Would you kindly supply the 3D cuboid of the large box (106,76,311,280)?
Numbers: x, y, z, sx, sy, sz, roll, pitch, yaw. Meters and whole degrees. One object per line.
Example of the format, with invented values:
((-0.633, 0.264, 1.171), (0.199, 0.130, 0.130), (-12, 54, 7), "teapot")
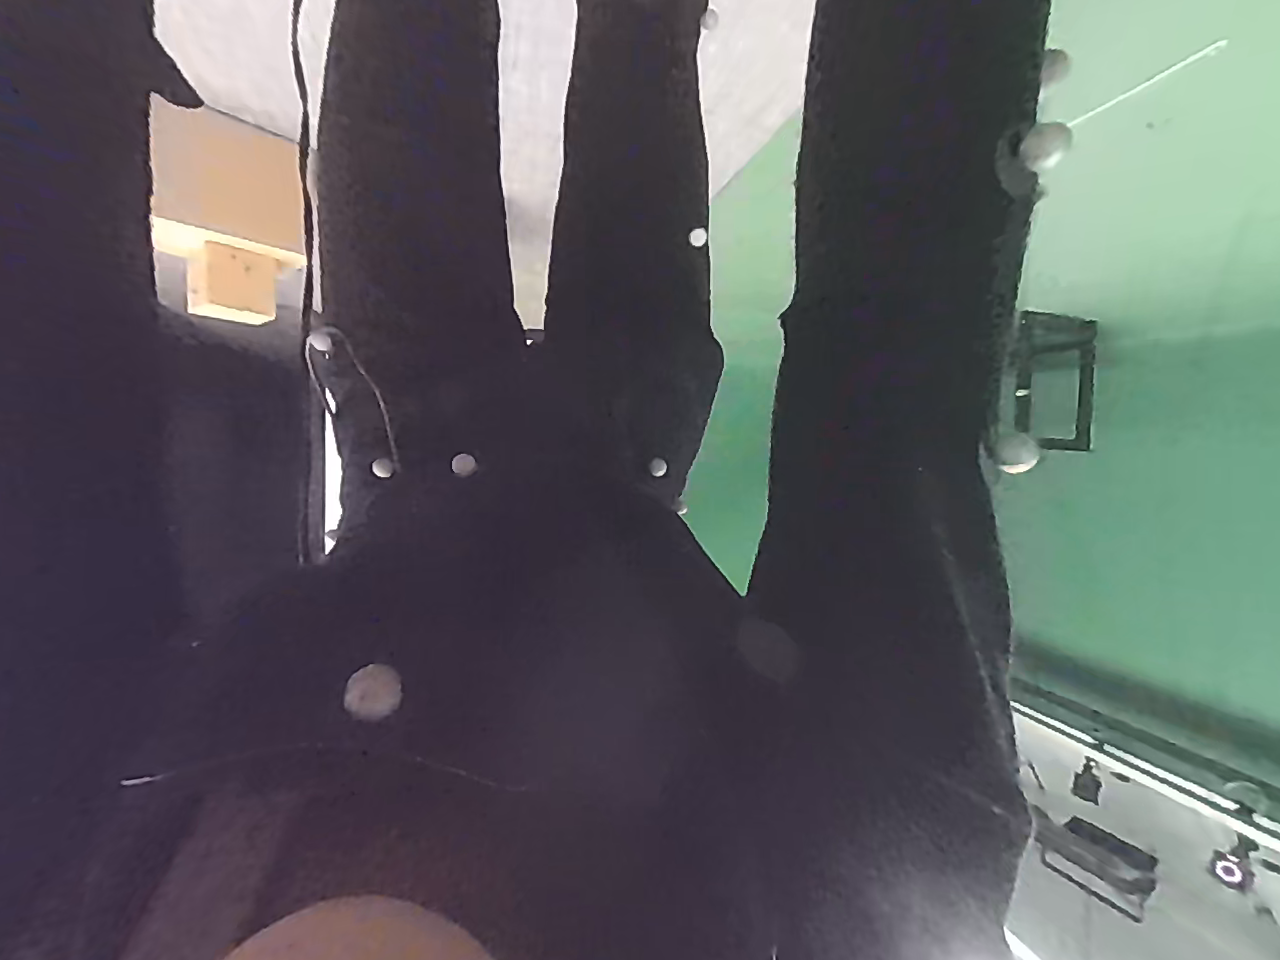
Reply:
((-1.171, -0.784, 1.478), (0.320, 0.320, 0.408), (3, -179, 43), "large box")

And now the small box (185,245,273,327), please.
((-1.156, -0.542, 1.526), (0.179, 0.176, 0.168), (4, -177, 38), "small box")
